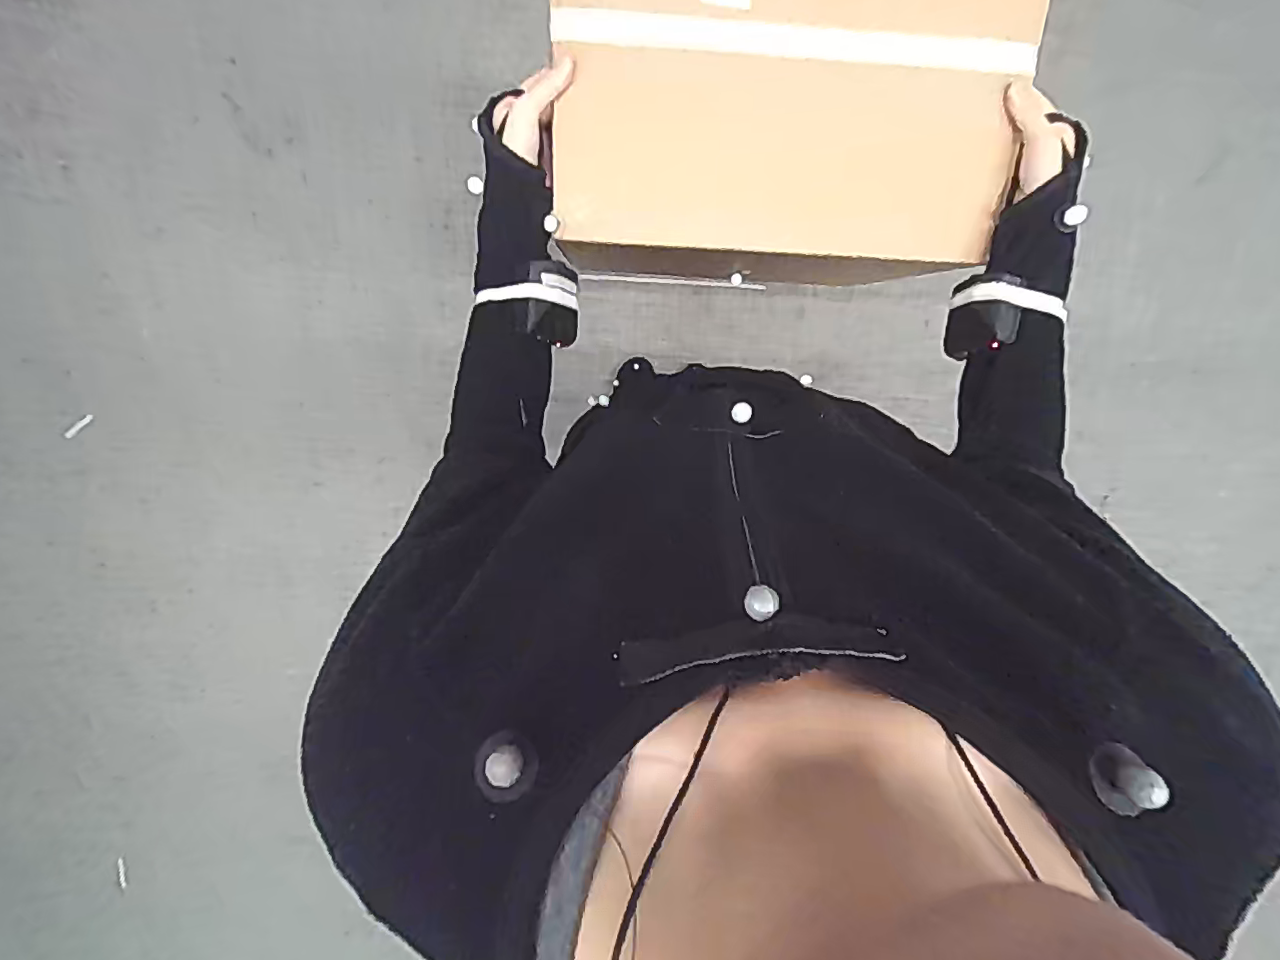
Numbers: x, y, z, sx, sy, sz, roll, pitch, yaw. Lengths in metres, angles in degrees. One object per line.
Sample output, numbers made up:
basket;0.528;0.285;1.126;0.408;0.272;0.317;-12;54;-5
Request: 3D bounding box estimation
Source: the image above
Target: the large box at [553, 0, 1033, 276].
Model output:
large box;0.124;-0.401;0.597;0.408;0.320;0.320;1;105;-2
